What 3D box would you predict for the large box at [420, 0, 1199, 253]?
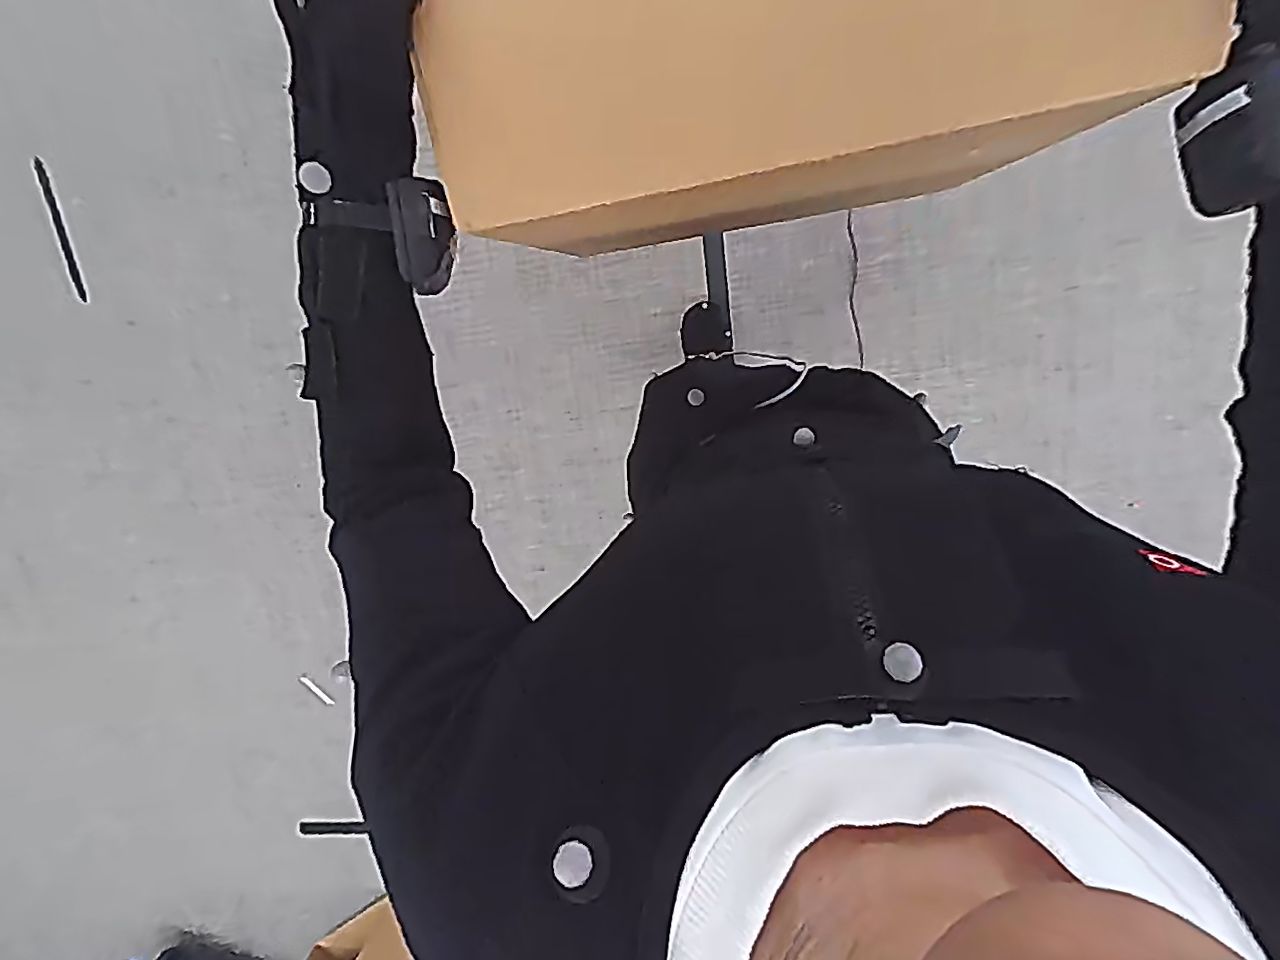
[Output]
[{"bbox_3d":[0.078,-0.380,0.404,0.408,0.320,0.320,-7,109,10],"label":"large box"}]
